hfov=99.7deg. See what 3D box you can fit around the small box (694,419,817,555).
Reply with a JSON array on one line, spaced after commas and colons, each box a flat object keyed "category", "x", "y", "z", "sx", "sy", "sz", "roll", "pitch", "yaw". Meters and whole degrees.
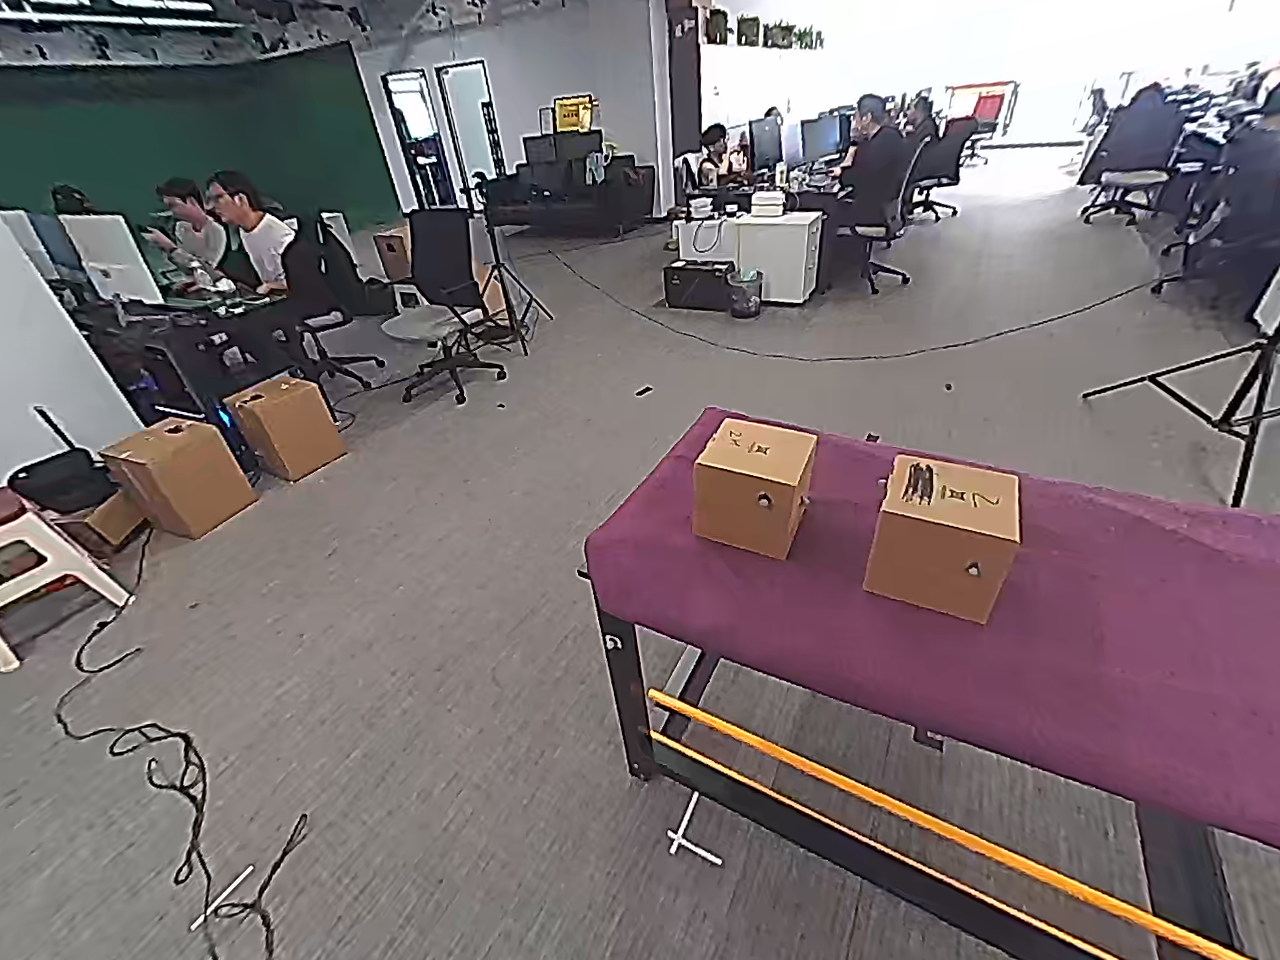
[{"category": "small box", "x": 0.209, "y": 0.013, "z": 0.994, "sx": 0.179, "sy": 0.176, "sz": 0.168, "roll": 15, "pitch": 39, "yaw": 23}]
